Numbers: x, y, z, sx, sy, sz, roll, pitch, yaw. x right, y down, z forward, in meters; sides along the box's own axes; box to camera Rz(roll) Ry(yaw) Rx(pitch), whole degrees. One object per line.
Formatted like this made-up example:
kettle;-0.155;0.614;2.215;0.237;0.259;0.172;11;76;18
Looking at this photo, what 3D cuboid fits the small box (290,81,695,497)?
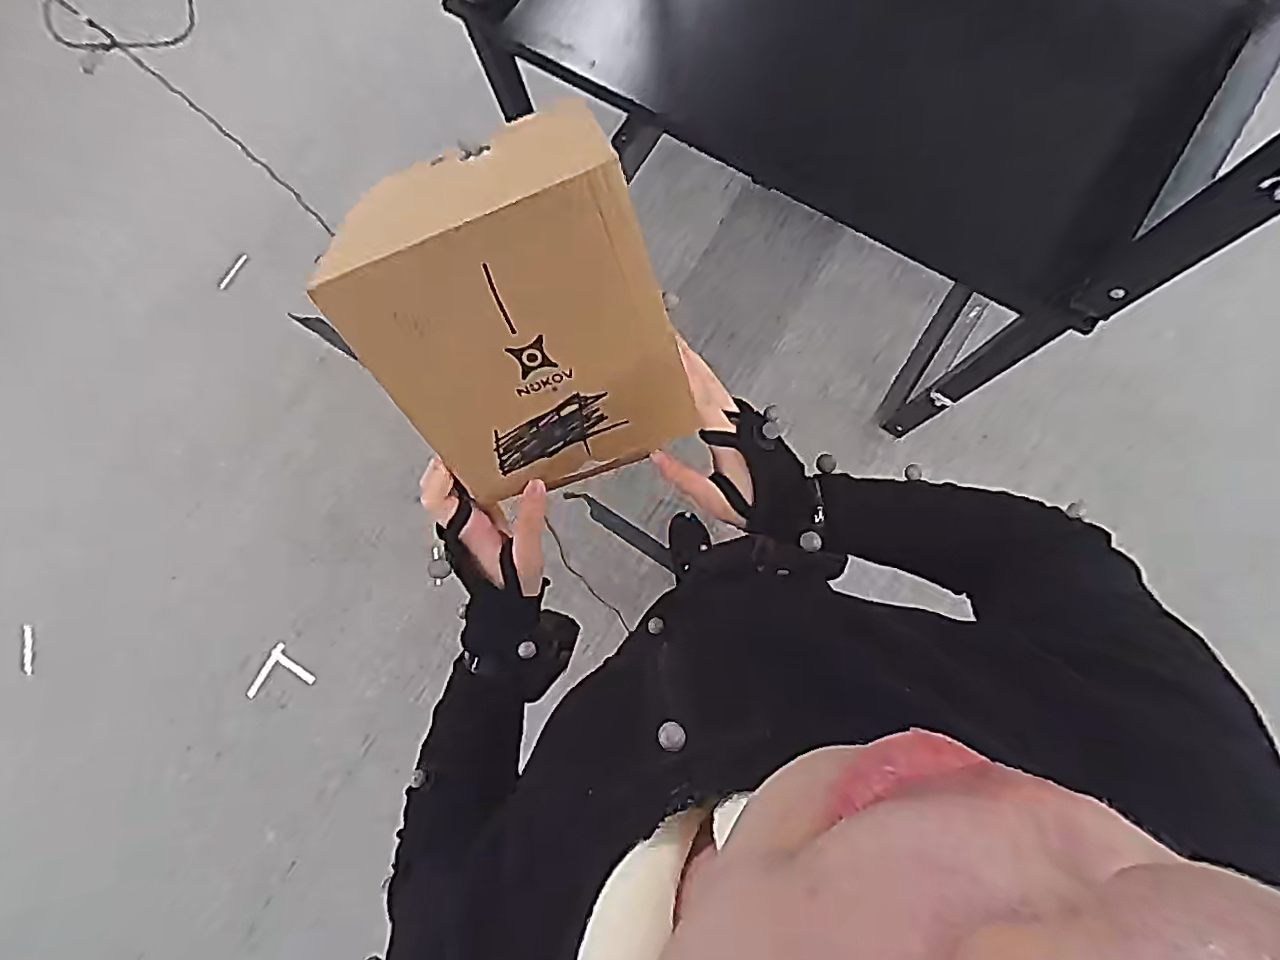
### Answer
small box;-0.076;-0.124;0.358;0.168;0.179;0.176;-20;44;5
